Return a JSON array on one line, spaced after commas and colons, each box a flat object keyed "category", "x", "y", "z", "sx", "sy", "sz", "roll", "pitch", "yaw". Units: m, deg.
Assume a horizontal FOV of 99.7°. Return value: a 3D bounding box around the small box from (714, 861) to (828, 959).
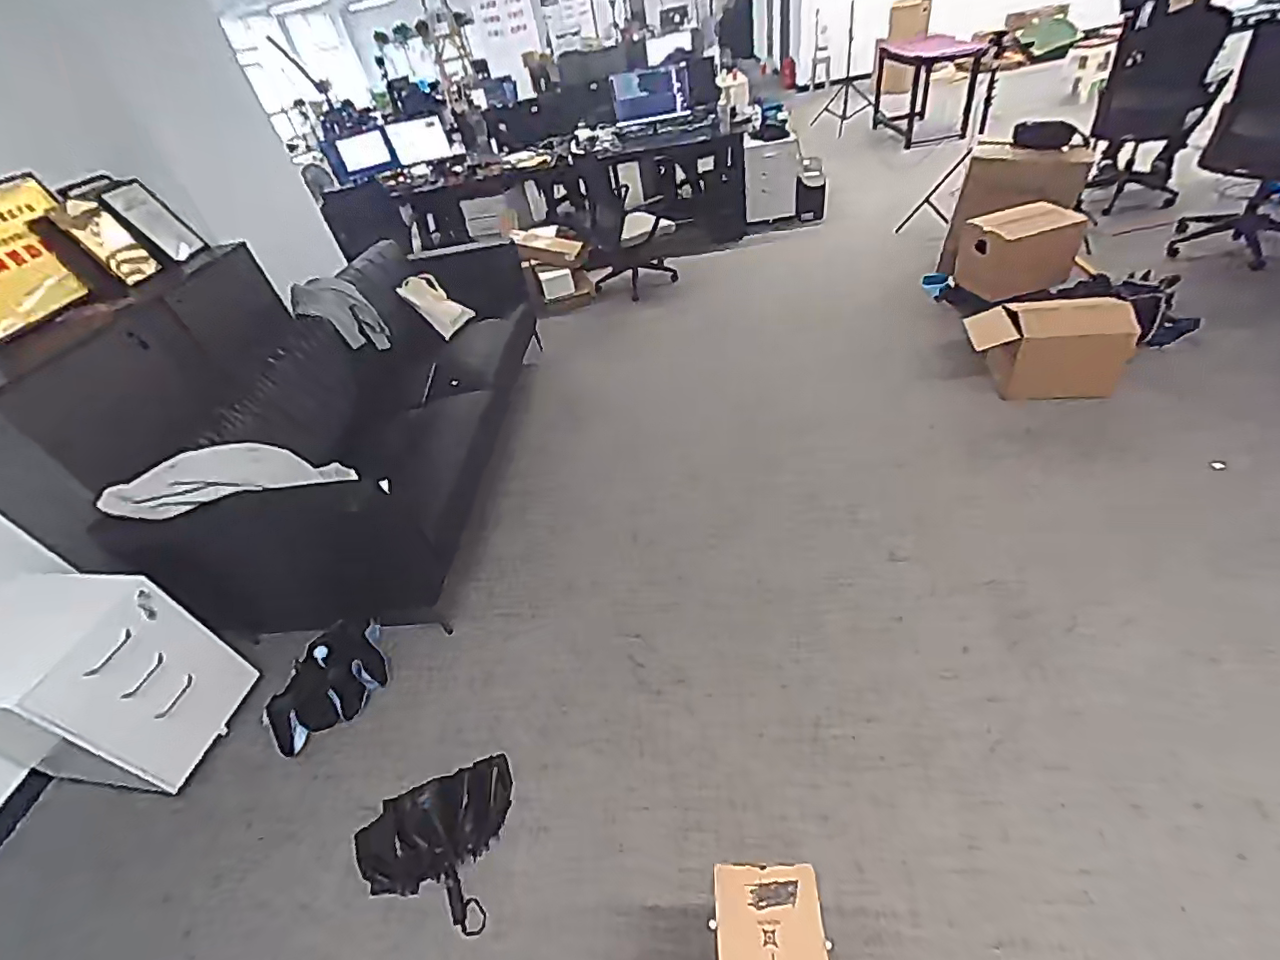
[{"category": "small box", "x": 0.208, "y": 0.746, "z": 0.879, "sx": 0.168, "sy": 0.176, "sz": 0.179, "roll": -5, "pitch": 42, "yaw": 7}]
